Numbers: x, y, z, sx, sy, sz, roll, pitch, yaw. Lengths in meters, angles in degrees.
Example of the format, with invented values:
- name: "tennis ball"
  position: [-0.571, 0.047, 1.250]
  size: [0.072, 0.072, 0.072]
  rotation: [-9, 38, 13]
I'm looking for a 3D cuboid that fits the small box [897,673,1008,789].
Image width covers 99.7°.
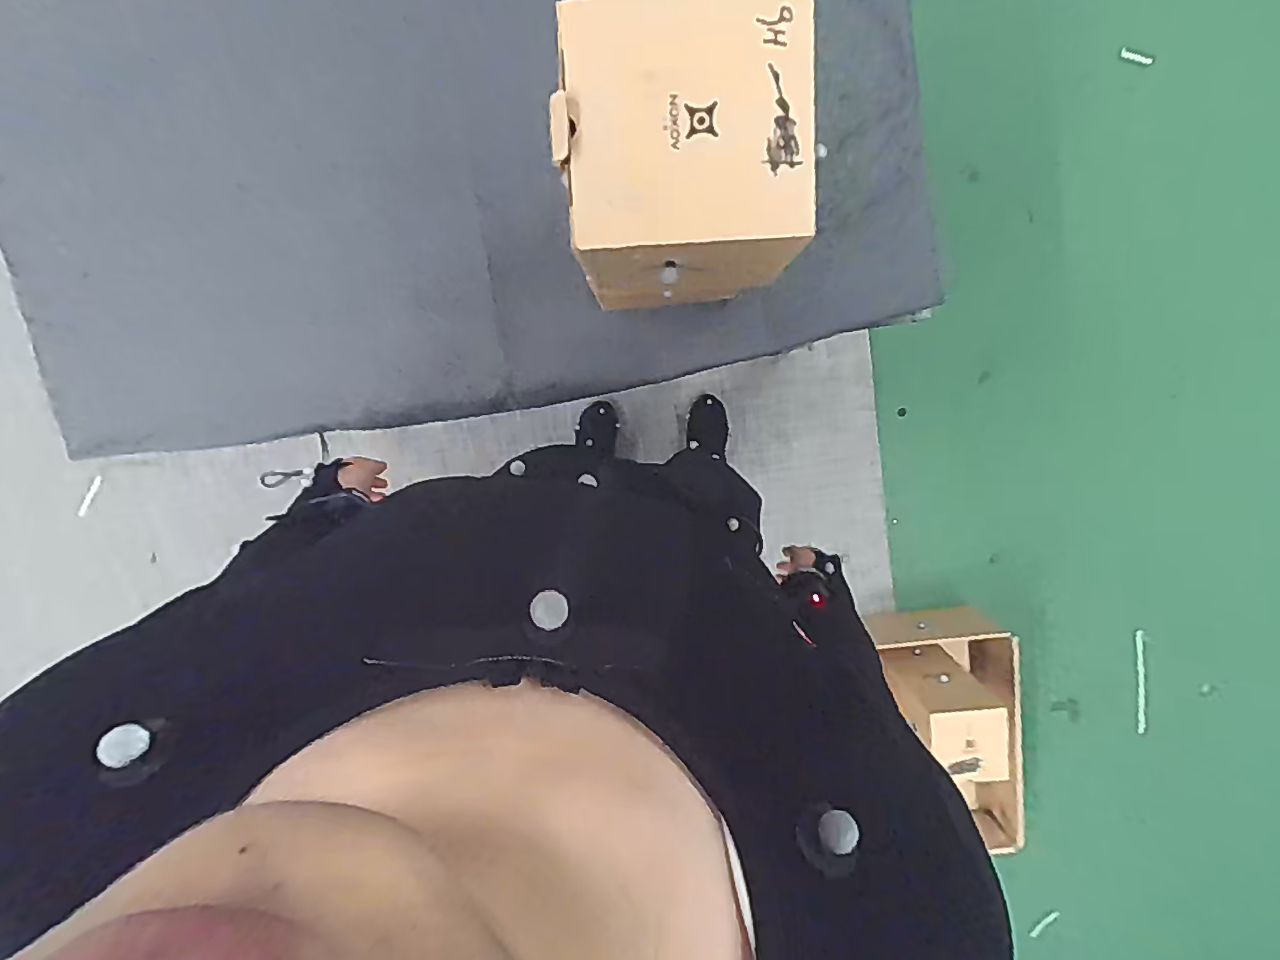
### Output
- name: "small box"
  position: [0.707, 0.568, 1.238]
  size: [0.168, 0.176, 0.179]
  rotation: [-6, 98, 3]

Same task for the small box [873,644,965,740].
- name: "small box"
  position: [0.717, 0.540, 1.399]
  size: [0.168, 0.176, 0.179]
  rotation: [-7, 100, 4]

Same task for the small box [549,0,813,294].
- name: "small box"
  position: [0.032, -0.254, 0.444]
  size: [0.179, 0.176, 0.168]
  rotation: [-2, 99, 3]
